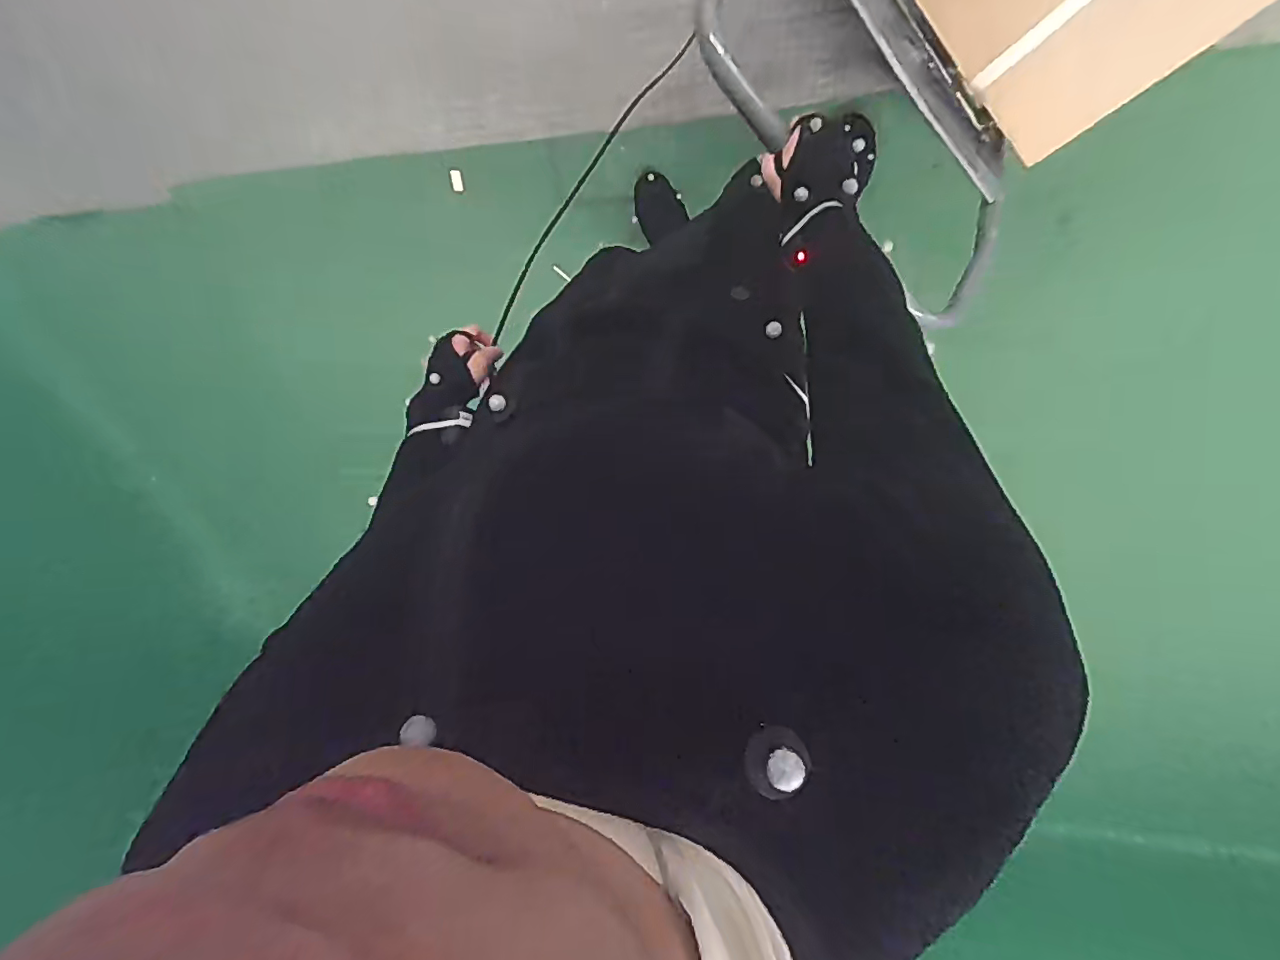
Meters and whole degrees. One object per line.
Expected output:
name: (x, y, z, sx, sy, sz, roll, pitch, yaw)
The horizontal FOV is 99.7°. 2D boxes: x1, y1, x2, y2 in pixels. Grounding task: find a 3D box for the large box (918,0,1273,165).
large box: (0.654, -0.743, 0.730, 0.320, 0.320, 0.408, 42, 140, -17)
